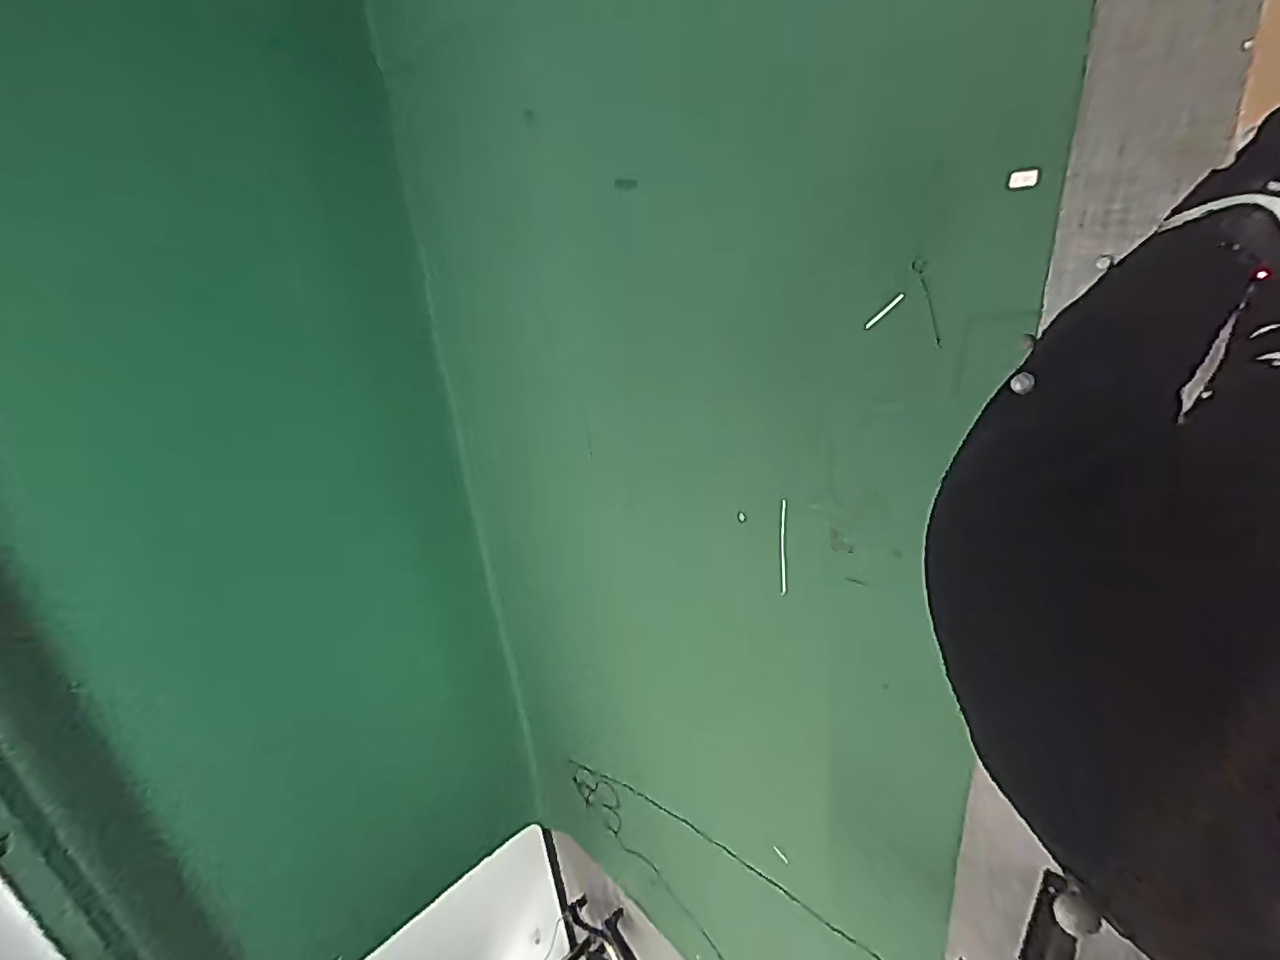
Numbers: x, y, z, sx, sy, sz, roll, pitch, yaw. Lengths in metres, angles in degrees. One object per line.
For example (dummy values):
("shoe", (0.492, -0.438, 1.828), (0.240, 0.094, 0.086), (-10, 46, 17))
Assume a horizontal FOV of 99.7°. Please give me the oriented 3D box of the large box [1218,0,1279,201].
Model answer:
("large box", (1.005, -0.610, 0.686), (0.320, 0.320, 0.408), (13, 116, 45))
